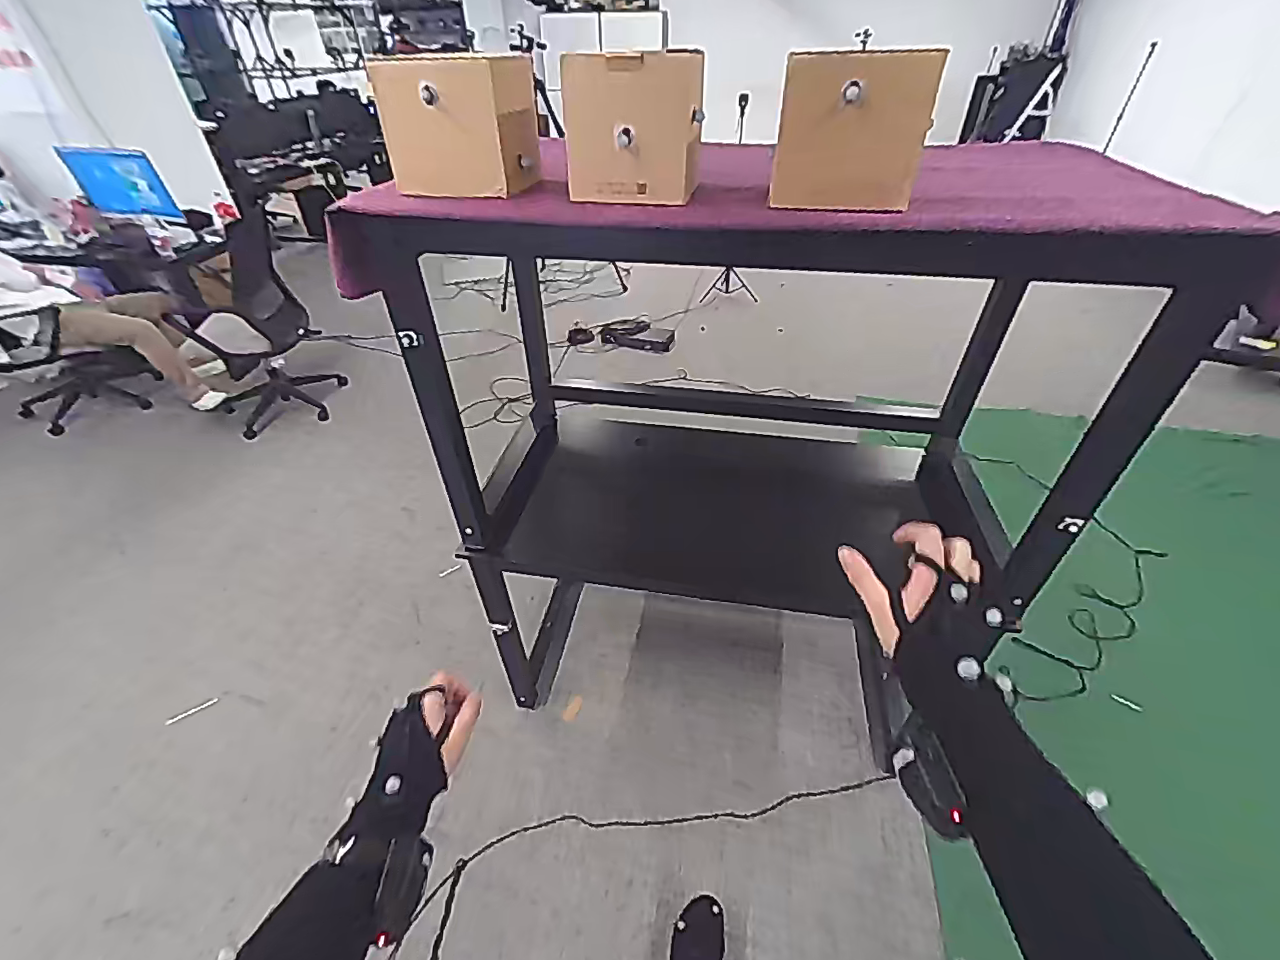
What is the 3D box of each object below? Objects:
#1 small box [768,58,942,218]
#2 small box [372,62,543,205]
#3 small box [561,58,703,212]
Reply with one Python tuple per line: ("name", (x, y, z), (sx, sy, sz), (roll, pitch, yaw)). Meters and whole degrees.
("small box", (0.275, -0.461, 0.732), (0.179, 0.176, 0.168), (6, 38, 10))
("small box", (-0.259, -0.523, 0.816), (0.179, 0.176, 0.168), (6, 40, 7))
("small box", (-0.002, -0.494, 0.776), (0.168, 0.176, 0.179), (6, 39, 9))
